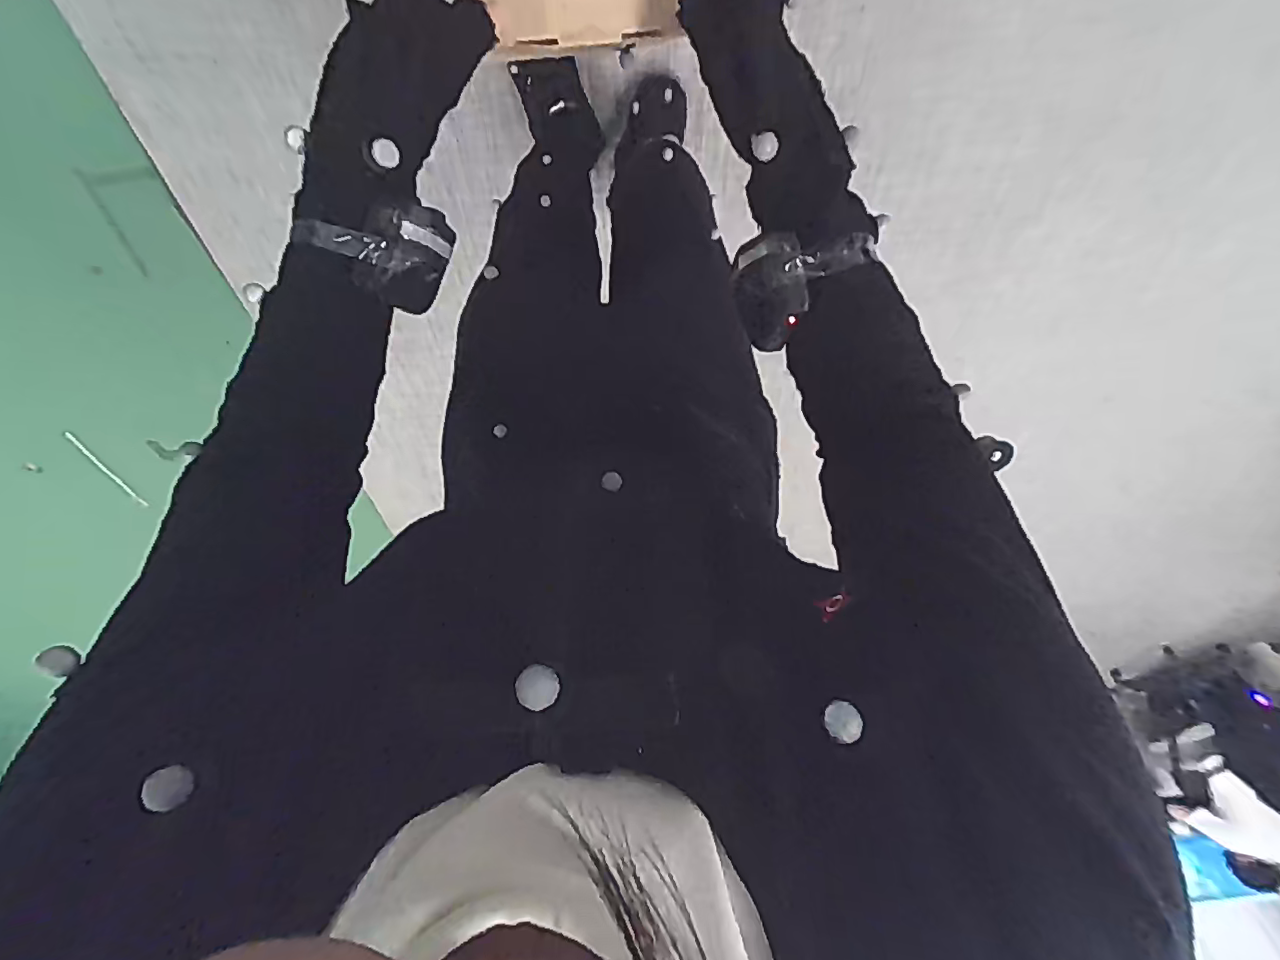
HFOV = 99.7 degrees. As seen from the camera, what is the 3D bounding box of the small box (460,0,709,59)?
[{"bbox_3d":[-0.054,-0.416,0.377,0.168,0.176,0.179,-12,127,-2],"label":"small box"}]
